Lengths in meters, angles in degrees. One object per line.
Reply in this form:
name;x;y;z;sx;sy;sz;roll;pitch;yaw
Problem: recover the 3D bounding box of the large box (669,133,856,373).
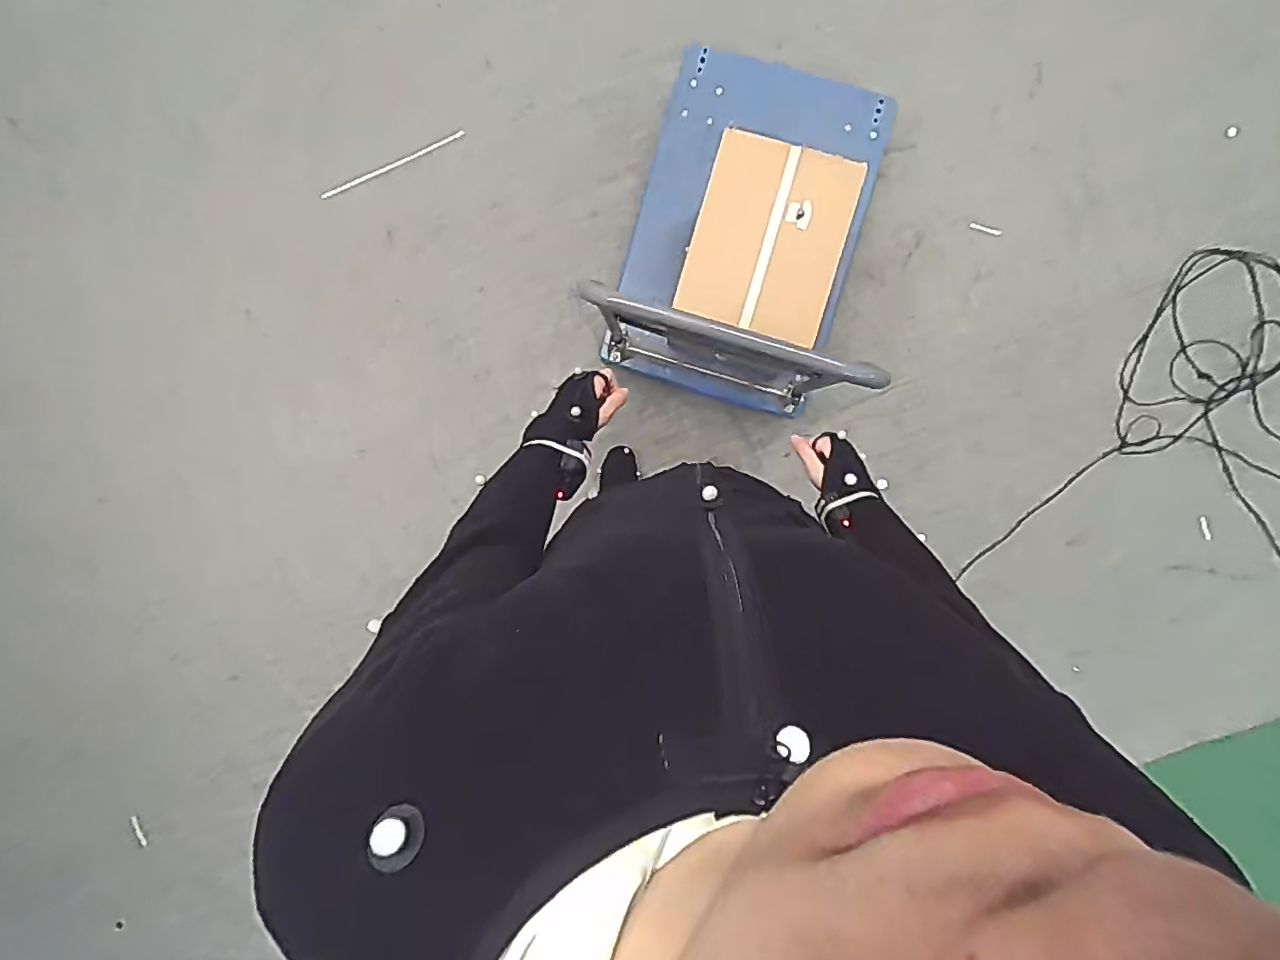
large box;0.267;-0.513;1.304;0.320;0.320;0.408;17;92;1
